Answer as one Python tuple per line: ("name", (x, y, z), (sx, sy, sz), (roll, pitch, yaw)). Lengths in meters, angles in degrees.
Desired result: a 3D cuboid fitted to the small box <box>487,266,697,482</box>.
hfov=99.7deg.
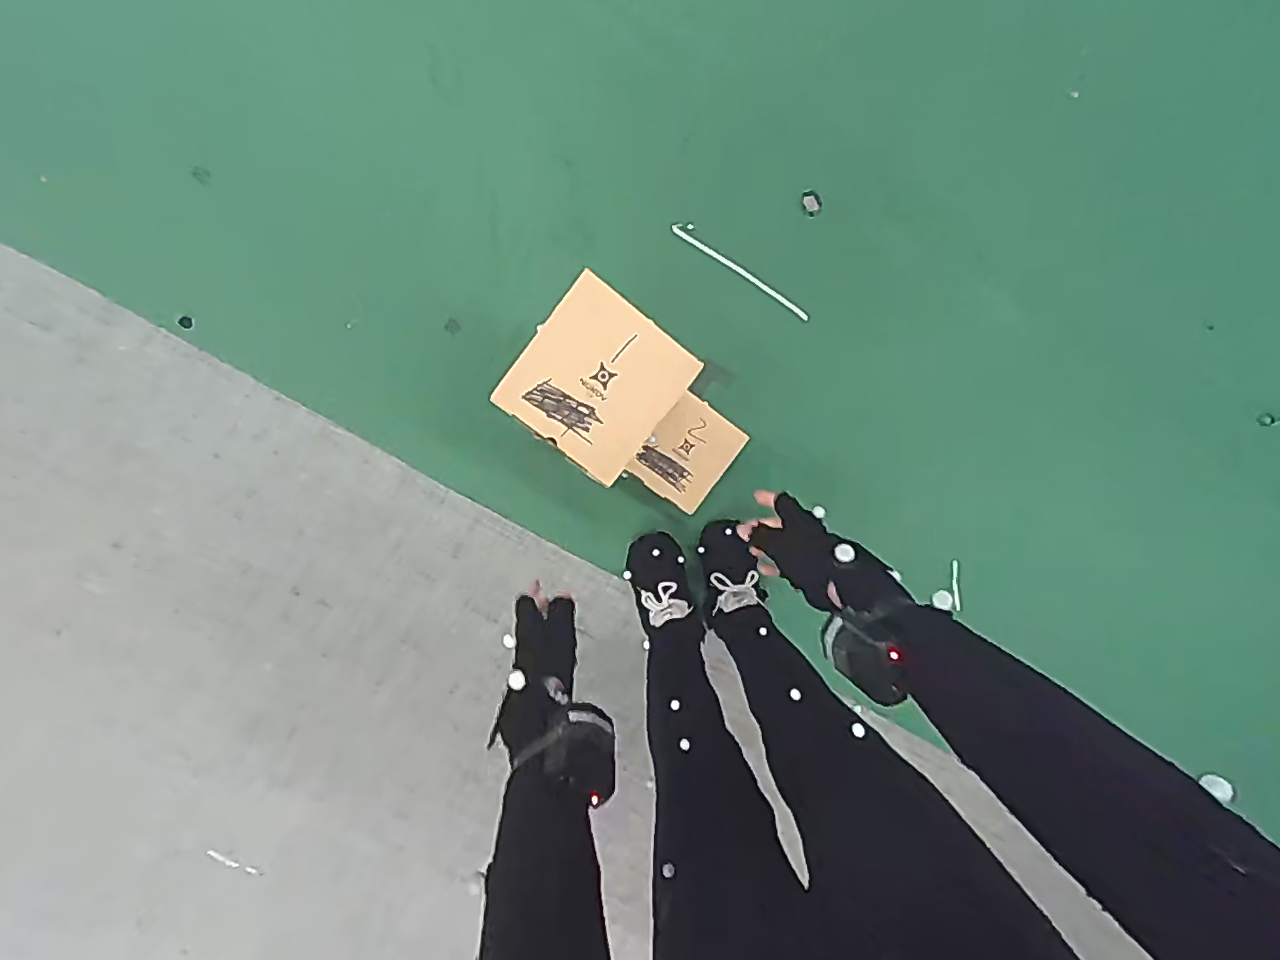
("small box", (-0.055, -0.124, 0.665), (0.168, 0.176, 0.179), (38, 95, -9))
